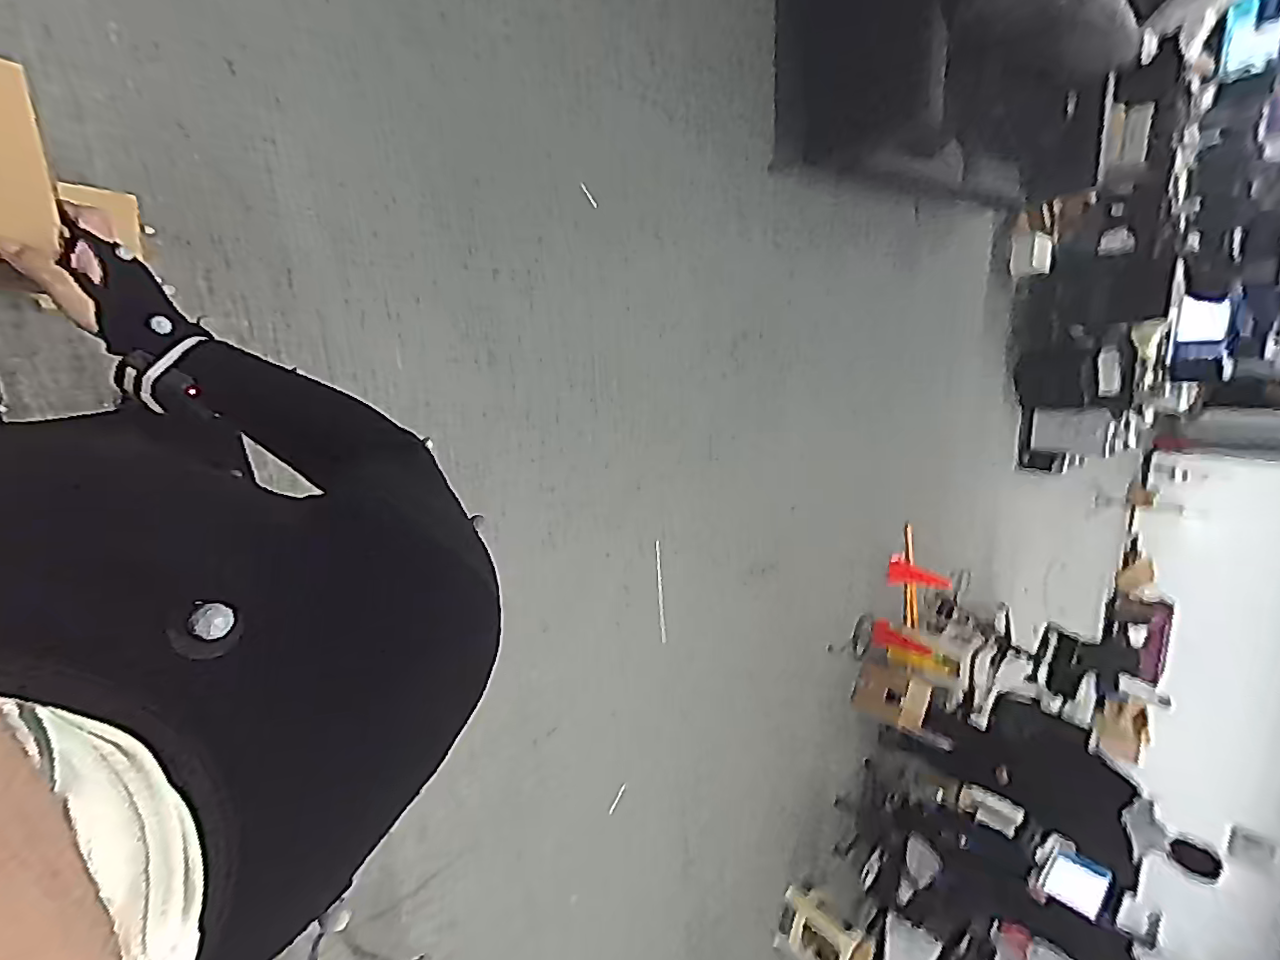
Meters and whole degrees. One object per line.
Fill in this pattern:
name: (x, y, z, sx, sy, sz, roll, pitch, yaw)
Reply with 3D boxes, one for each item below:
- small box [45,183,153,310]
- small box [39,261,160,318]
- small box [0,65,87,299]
small box: (-0.988, -0.410, 0.961, 0.168, 0.176, 0.179, -5, 101, -38)
small box: (-1.092, -0.423, 1.089, 0.168, 0.176, 0.179, -11, 105, -38)
small box: (-0.639, -0.262, 0.481, 0.179, 0.176, 0.168, -15, 104, -42)
